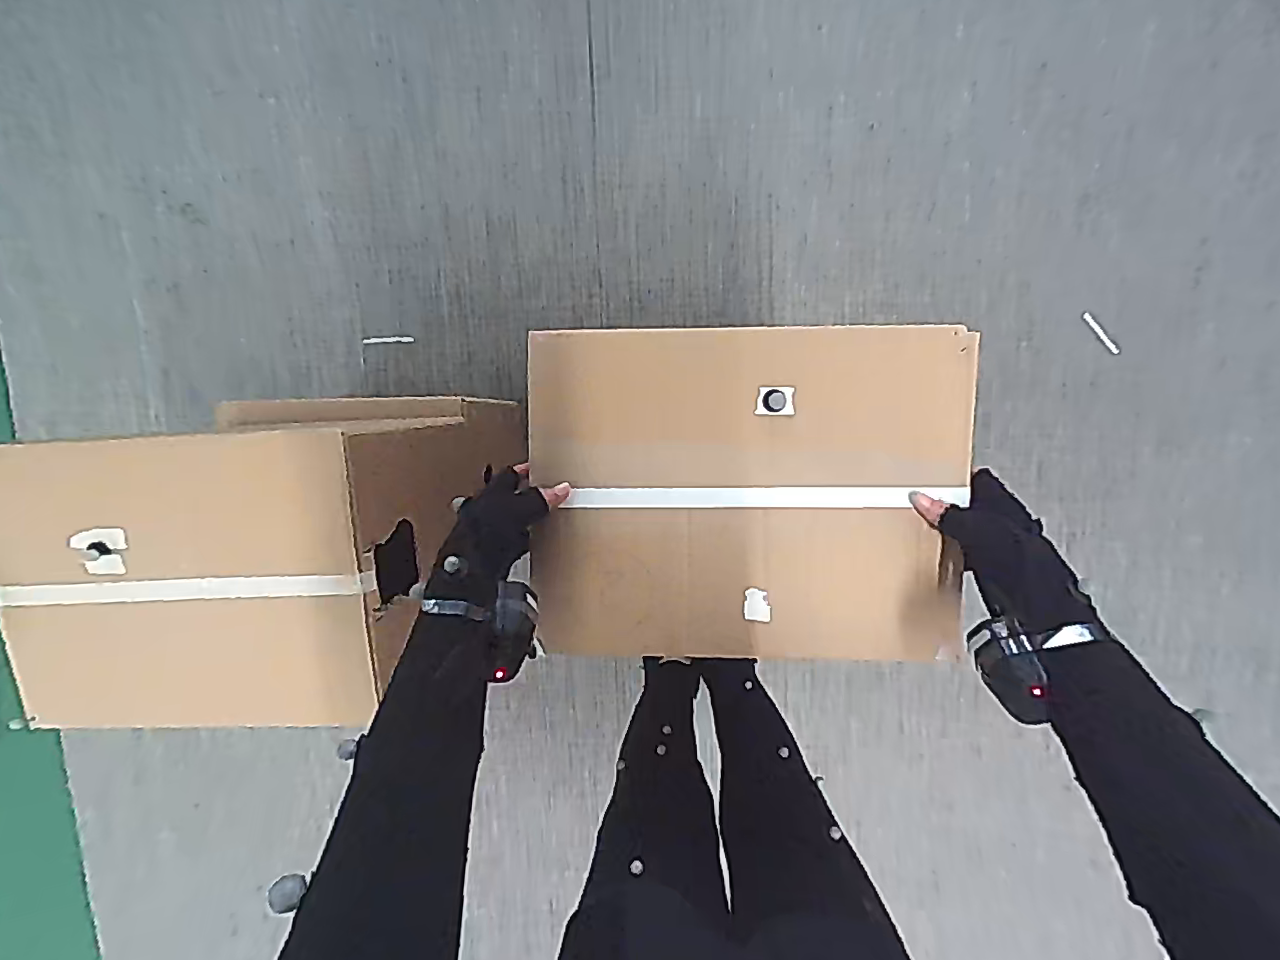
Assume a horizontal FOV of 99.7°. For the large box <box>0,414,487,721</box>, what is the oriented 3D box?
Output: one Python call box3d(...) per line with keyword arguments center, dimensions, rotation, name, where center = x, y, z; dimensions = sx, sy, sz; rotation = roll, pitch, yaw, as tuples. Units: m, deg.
box3d(center=(-0.460, 0.085, 0.710), dimensions=(0.408, 0.320, 0.320), rotation=(-2, 99, 6), name="large box")
